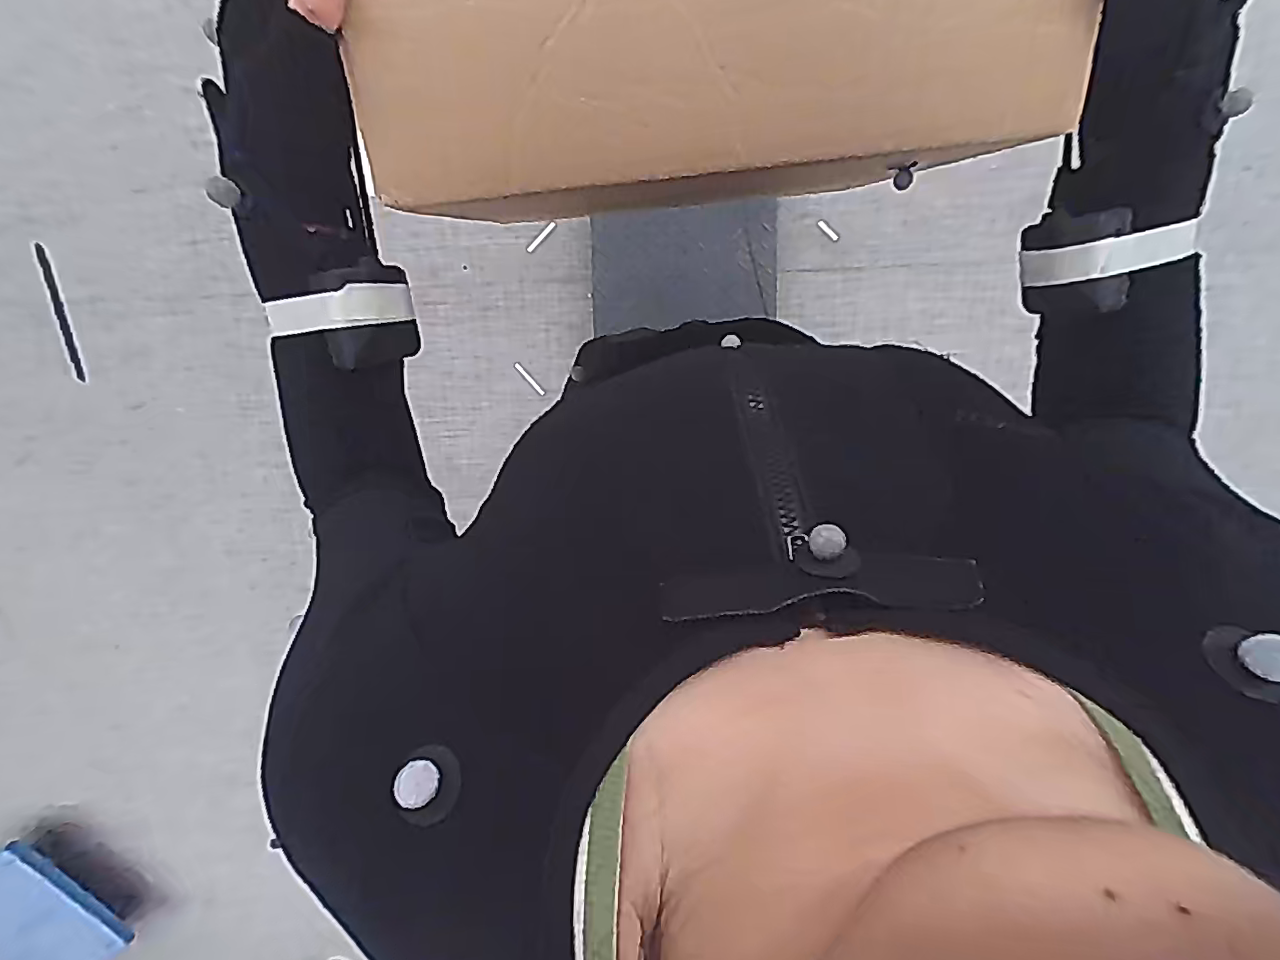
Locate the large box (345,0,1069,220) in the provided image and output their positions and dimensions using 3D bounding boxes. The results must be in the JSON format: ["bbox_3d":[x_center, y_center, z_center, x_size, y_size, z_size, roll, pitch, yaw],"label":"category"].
[{"bbox_3d":[0.031,-0.387,0.403,0.408,0.320,0.320,-6,113,2],"label":"large box"}]
